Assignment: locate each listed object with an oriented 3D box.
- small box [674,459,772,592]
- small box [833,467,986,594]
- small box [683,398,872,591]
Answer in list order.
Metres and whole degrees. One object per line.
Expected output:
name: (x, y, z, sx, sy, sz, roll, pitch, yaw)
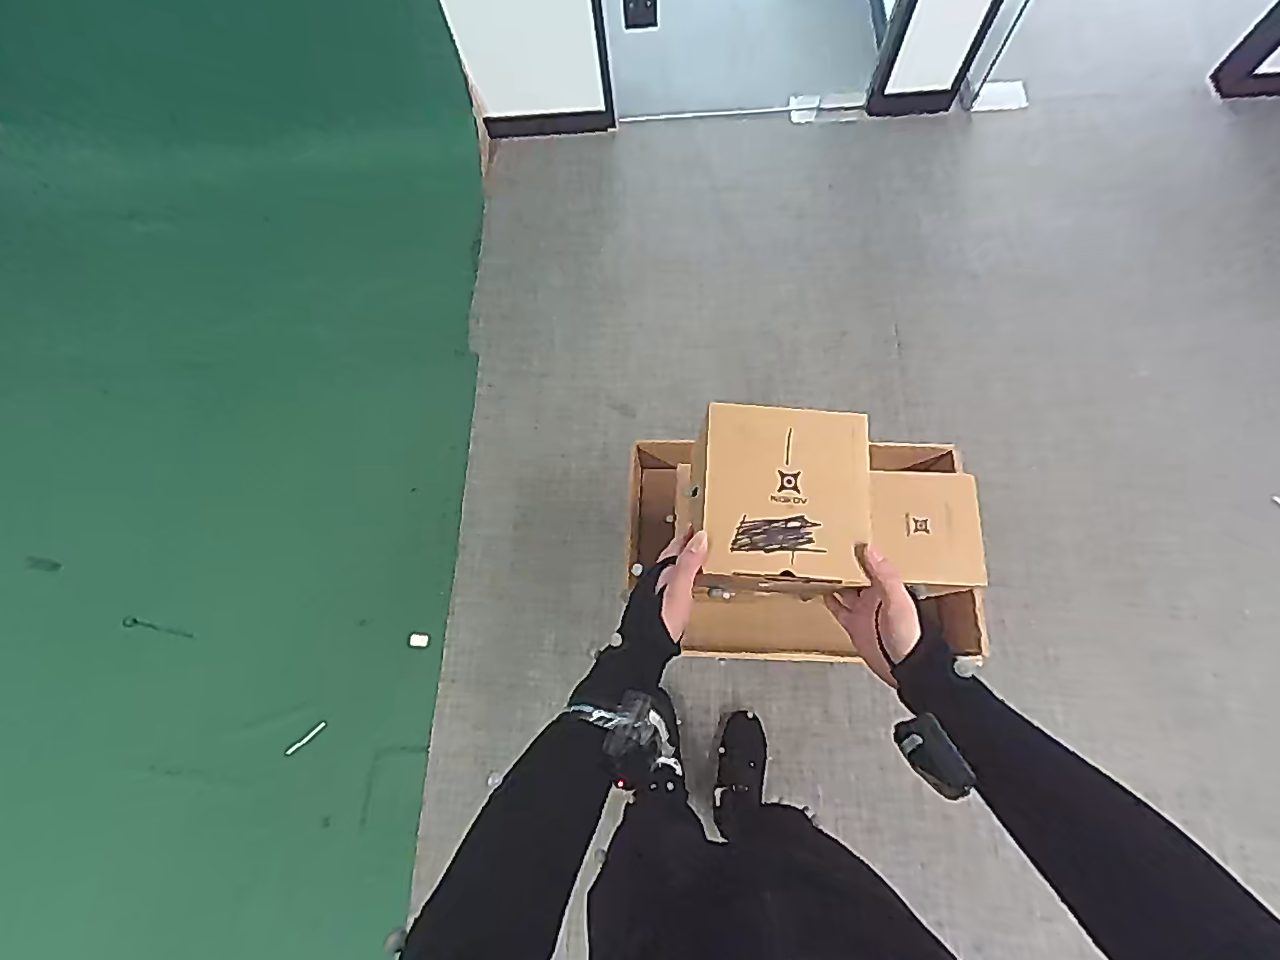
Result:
small box: (0.140, 0.078, 0.863, 0.168, 0.176, 0.179, 1, 72, 4)
small box: (0.402, 0.086, 0.850, 0.179, 0.176, 0.168, 3, 74, 3)
small box: (0.142, 0.028, 0.606, 0.168, 0.176, 0.179, 6, 74, -1)
